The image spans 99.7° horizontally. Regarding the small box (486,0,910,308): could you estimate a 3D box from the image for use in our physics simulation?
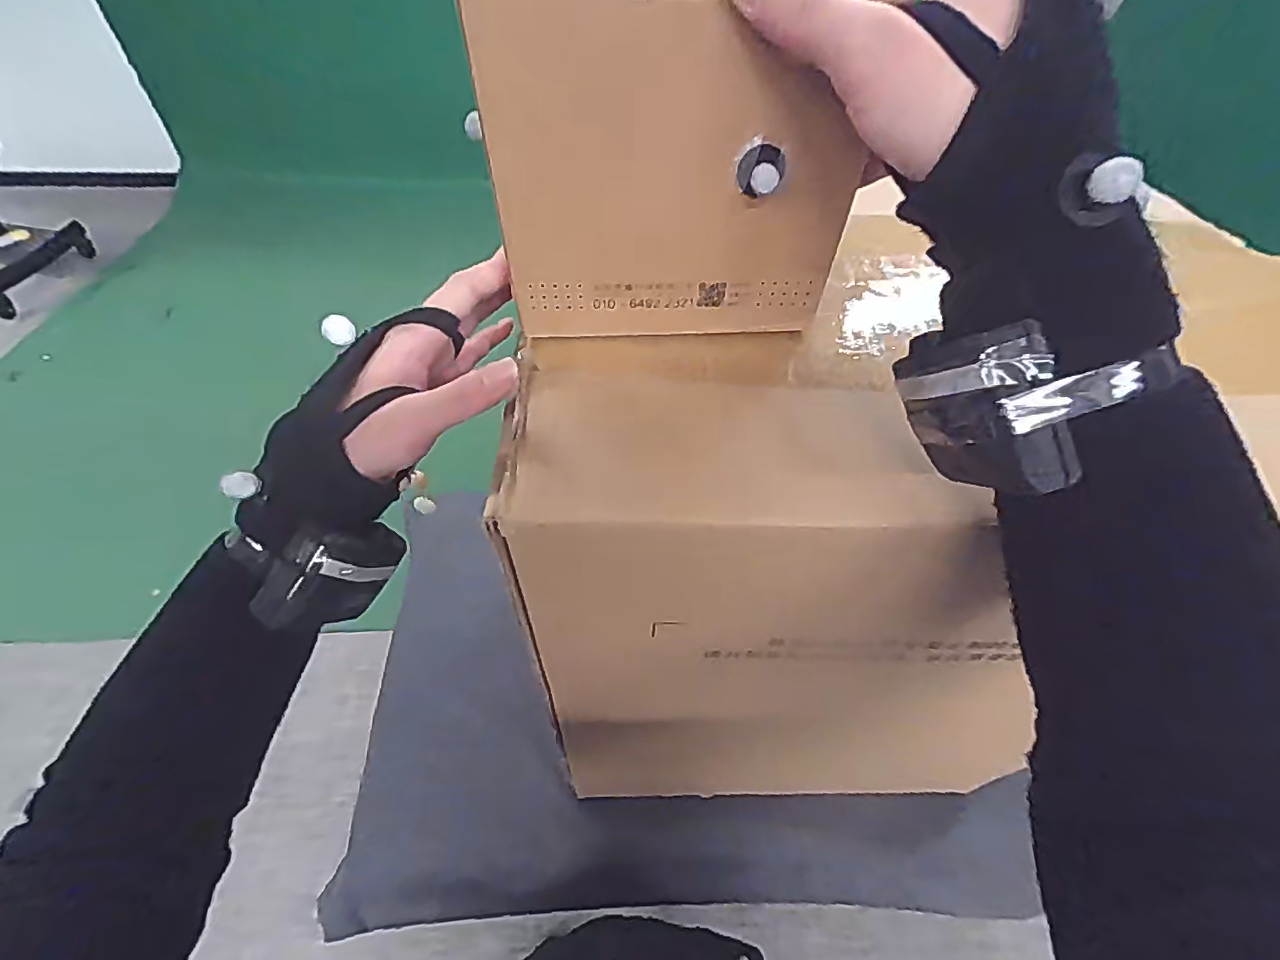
[{"bbox_3d":[0.019,-0.209,0.288,0.168,0.176,0.179,-1,51,-5],"label":"small box"}]
